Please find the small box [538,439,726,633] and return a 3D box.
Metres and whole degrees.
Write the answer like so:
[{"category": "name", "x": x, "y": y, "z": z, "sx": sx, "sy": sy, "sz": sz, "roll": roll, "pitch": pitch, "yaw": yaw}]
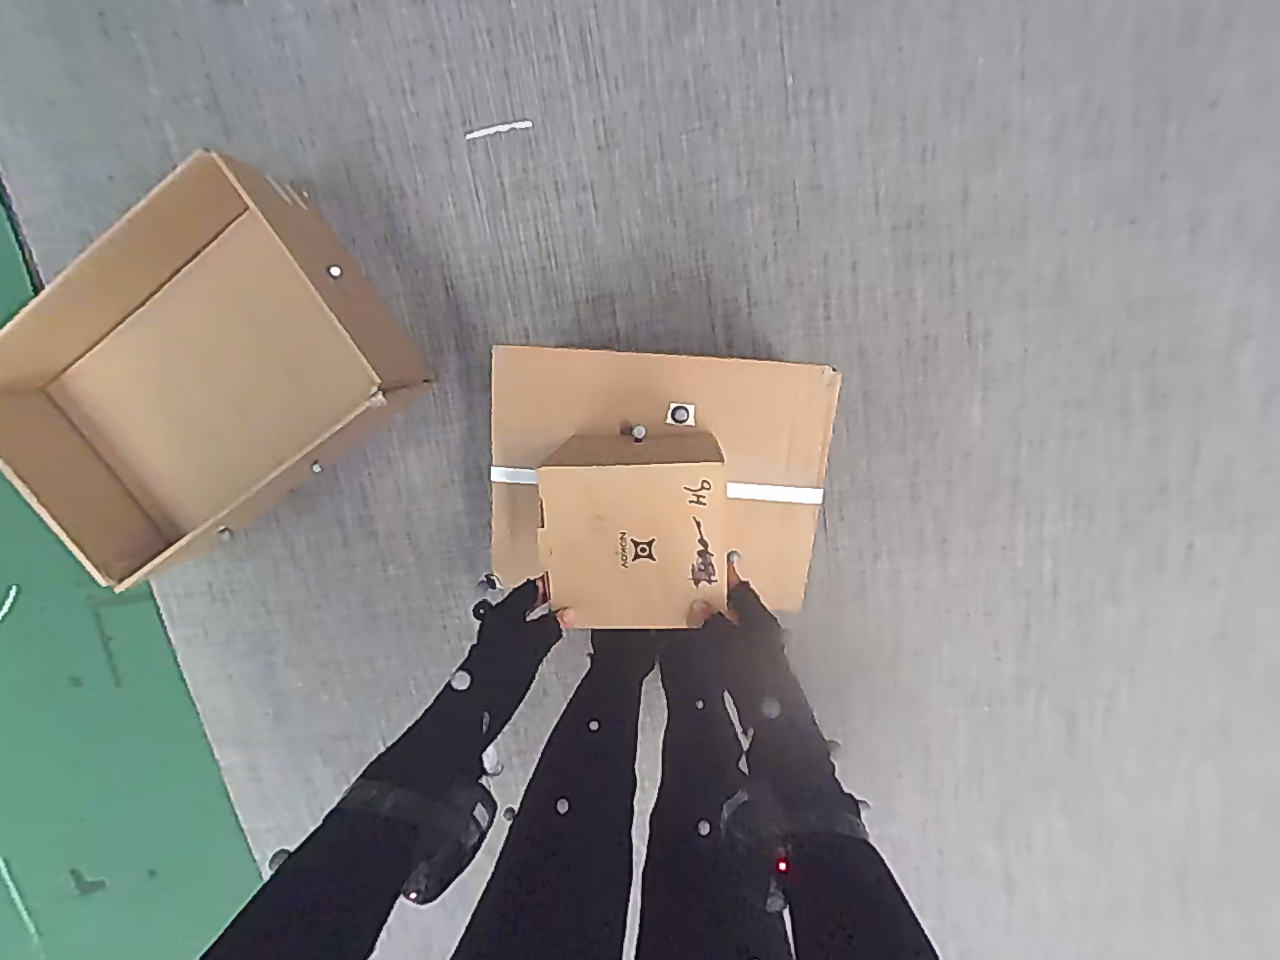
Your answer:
[{"category": "small box", "x": 0.001, "y": 0.050, "z": 0.587, "sx": 0.179, "sy": 0.176, "sz": 0.168, "roll": -1, "pitch": 104, "yaw": 5}]
